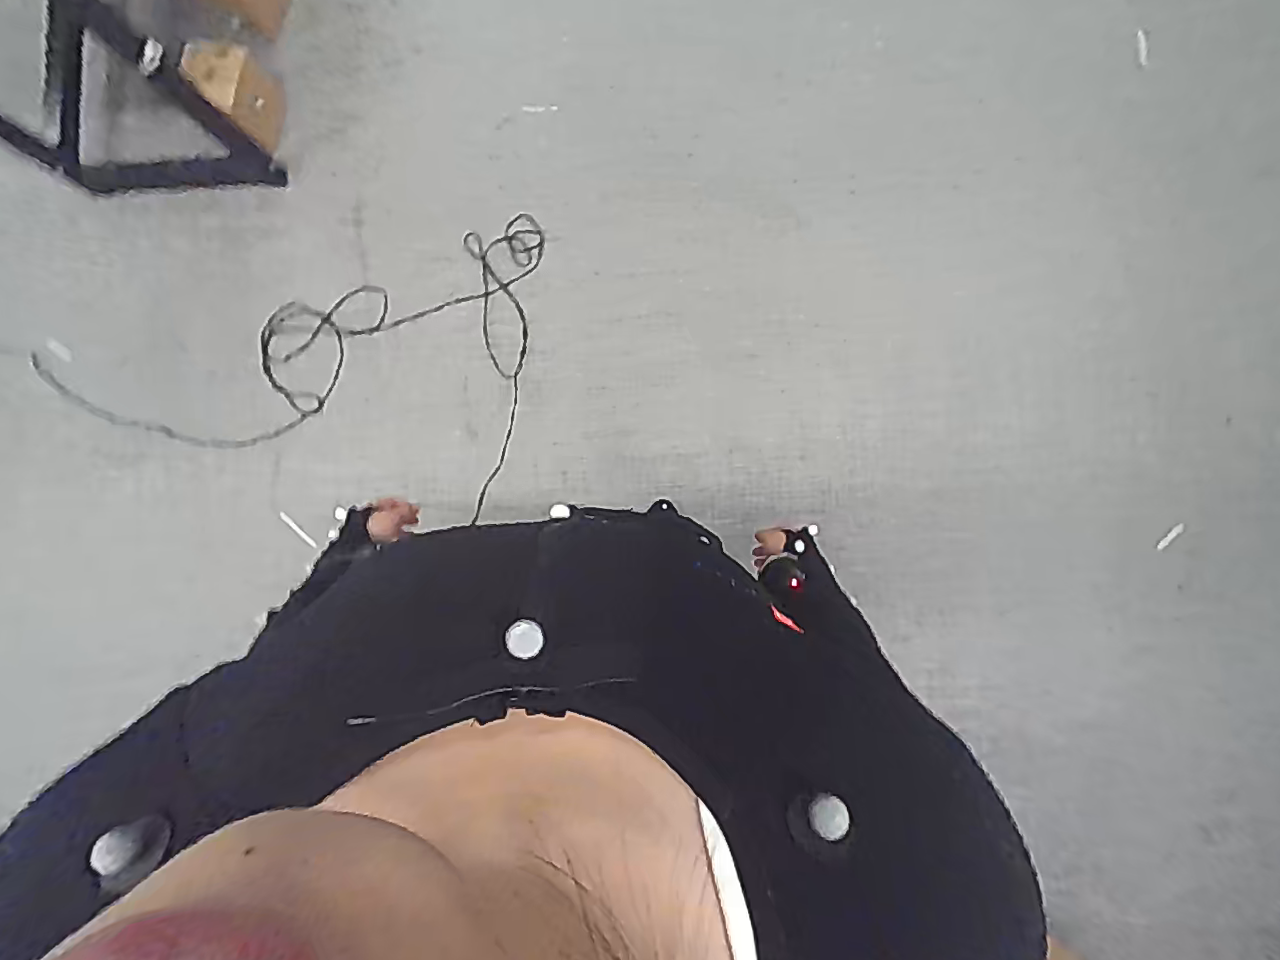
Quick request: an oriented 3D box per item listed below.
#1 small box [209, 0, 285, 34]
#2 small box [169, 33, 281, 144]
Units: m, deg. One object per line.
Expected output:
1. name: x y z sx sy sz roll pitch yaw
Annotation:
1. small box: -1.128 -1.416 1.510 0.168 0.176 0.179 19 88 2
2. small box: -1.133 -1.069 1.490 0.168 0.176 0.179 11 87 0
